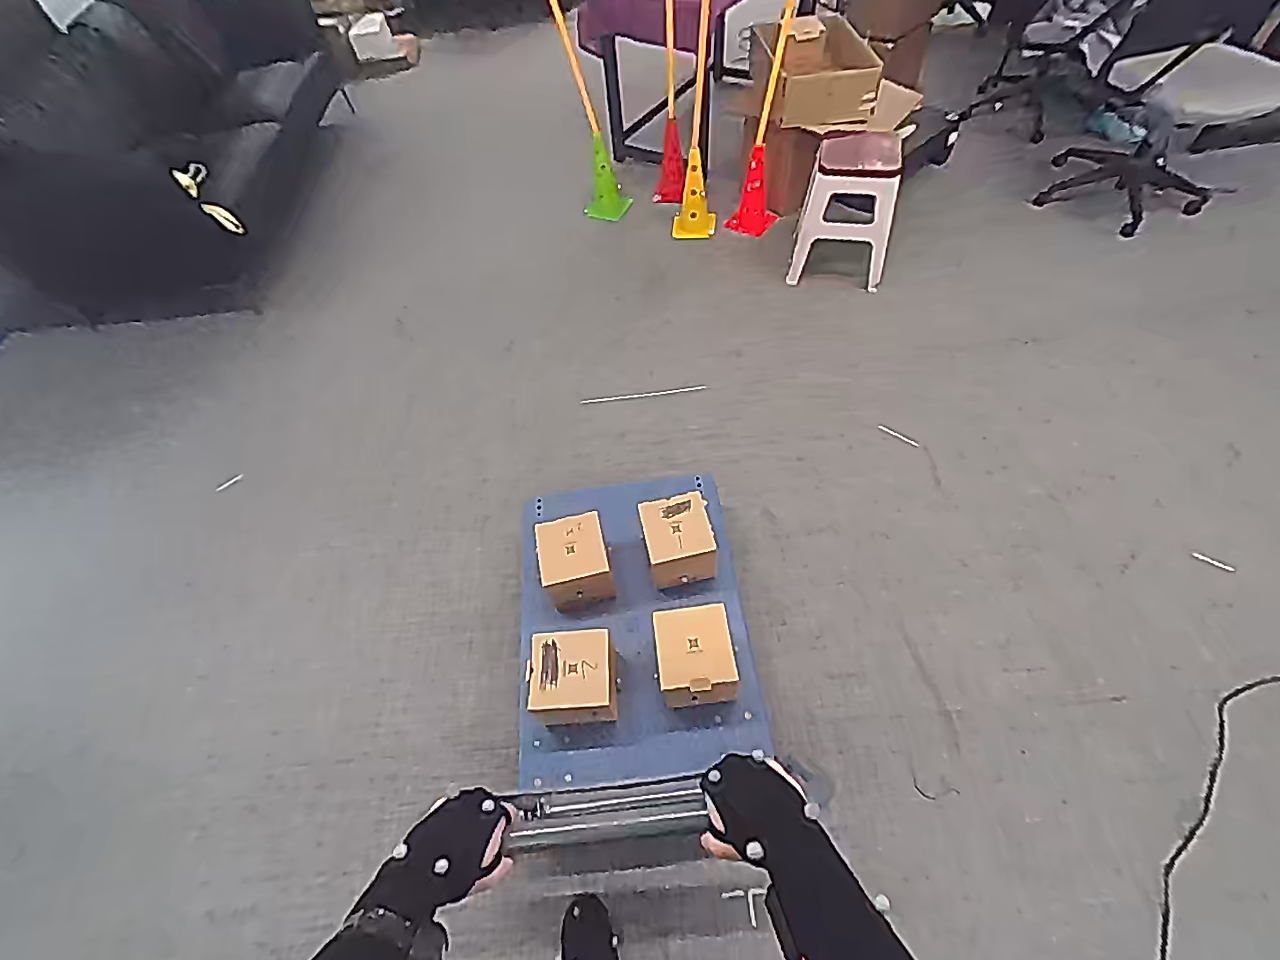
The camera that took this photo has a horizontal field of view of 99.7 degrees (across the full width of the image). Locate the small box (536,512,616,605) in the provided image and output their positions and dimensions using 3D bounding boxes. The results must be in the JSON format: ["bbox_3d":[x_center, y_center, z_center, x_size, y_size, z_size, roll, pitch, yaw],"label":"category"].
[{"bbox_3d":[-0.163,0.211,1.402,0.168,0.176,0.179,-12,56,-3],"label":"small box"}]

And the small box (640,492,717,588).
[{"bbox_3d":[0.098,0.160,1.410,0.168,0.176,0.179,-12,57,-2],"label":"small box"}]

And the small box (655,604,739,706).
[{"bbox_3d":[0.125,0.405,1.245,0.168,0.176,0.179,-8,57,1],"label":"small box"}]
